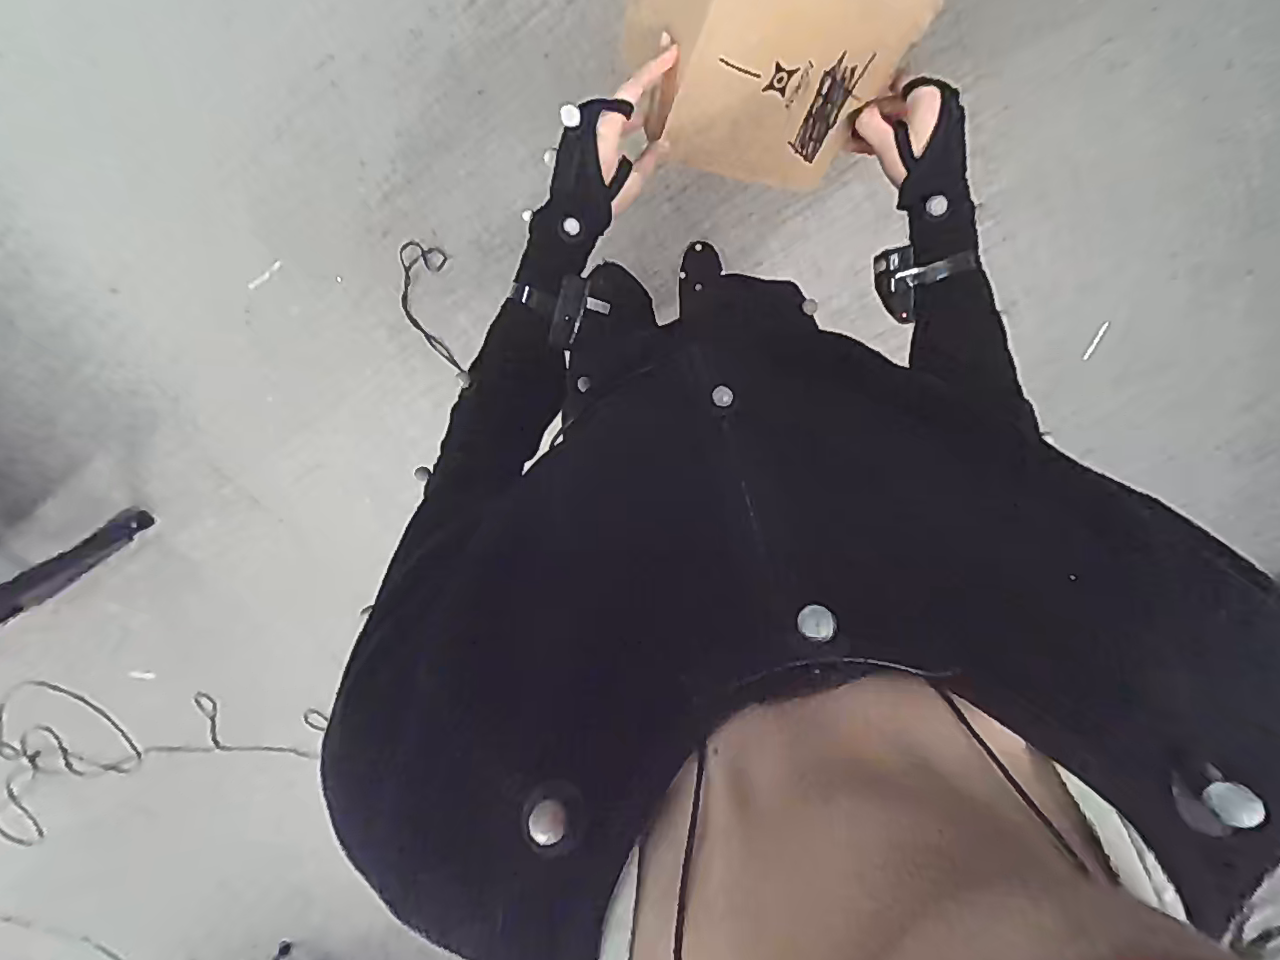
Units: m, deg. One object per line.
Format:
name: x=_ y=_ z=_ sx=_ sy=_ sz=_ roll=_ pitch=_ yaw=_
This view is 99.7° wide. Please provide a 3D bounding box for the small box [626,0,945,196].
small box: x=0.105 y=-0.384 z=0.460 sx=0.179 sy=0.176 sz=0.168 roll=0 pitch=153 yaw=-23
